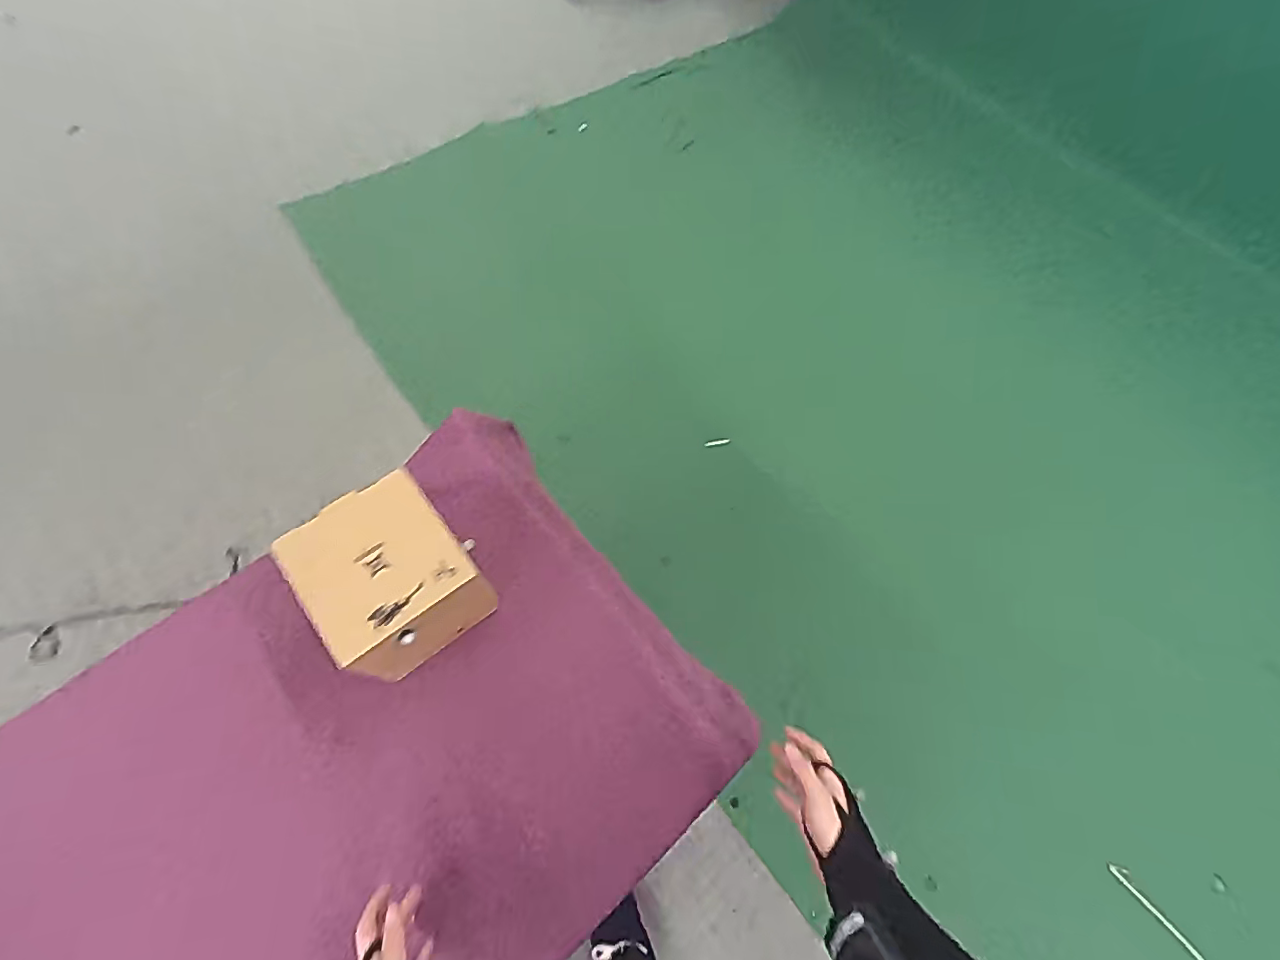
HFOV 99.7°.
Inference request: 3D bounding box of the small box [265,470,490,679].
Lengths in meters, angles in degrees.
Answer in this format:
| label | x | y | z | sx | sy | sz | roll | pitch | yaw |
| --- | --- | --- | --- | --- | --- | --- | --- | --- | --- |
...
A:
| label | x | y | z | sx | sy | sz | roll | pitch | yaw |
| --- | --- | --- | --- | --- | --- | --- | --- | --- | --- |
| small box | -0.314 | 0.125 | 0.680 | 0.168 | 0.176 | 0.179 | -36 | 71 | -19 |
